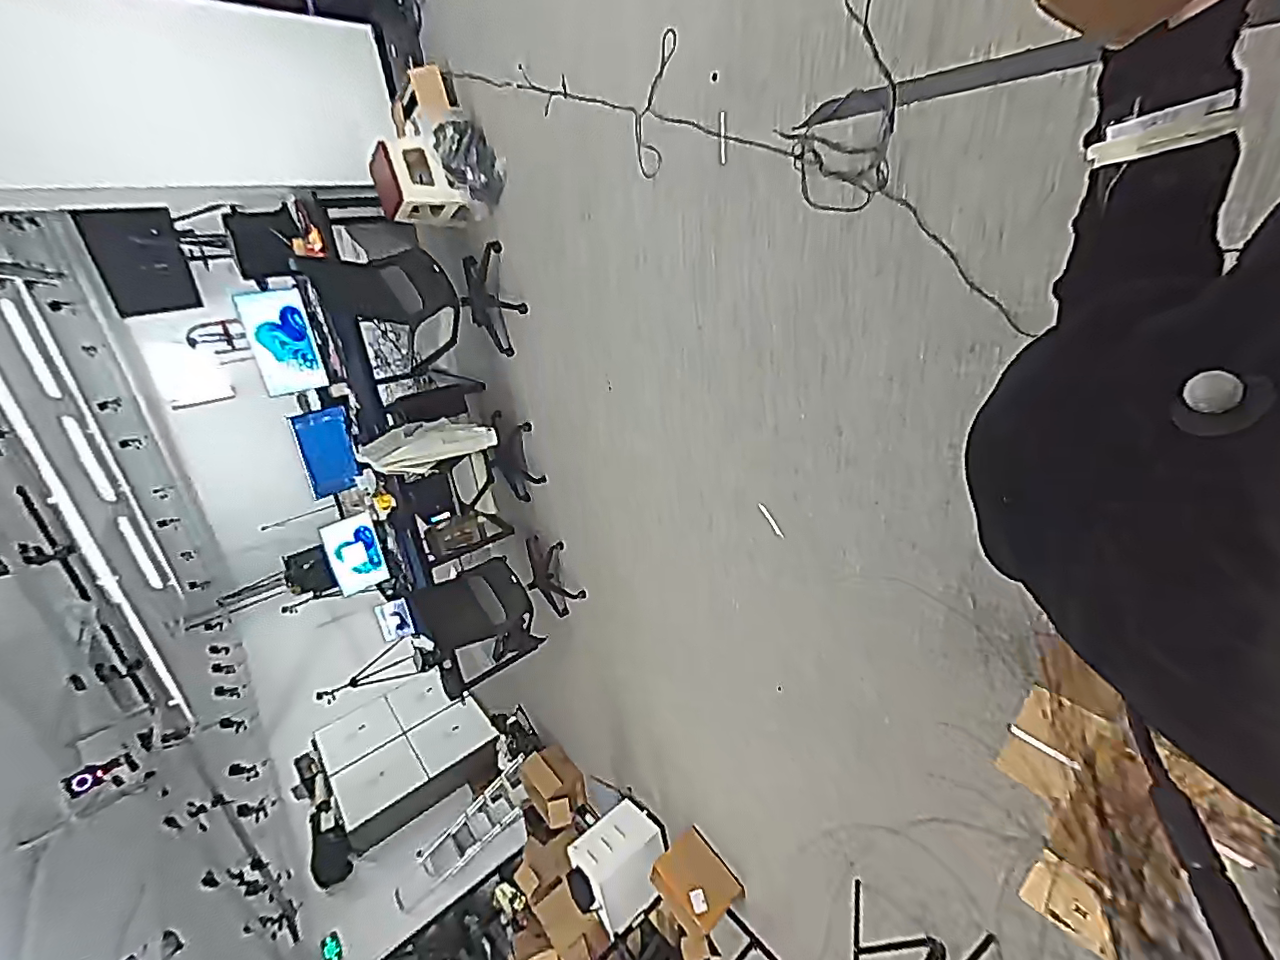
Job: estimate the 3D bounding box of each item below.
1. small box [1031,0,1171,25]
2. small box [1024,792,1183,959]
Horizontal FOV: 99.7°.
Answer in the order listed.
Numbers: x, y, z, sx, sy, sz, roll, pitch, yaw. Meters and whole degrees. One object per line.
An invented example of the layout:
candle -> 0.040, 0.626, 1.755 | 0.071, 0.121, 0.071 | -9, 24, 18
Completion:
small box -> 0.239, -0.327, 0.211 | 0.168, 0.176, 0.179 | -20, 94, 53
small box -> 0.853, 0.727, 0.996 | 0.168, 0.176, 0.179 | 28, 129, 43
